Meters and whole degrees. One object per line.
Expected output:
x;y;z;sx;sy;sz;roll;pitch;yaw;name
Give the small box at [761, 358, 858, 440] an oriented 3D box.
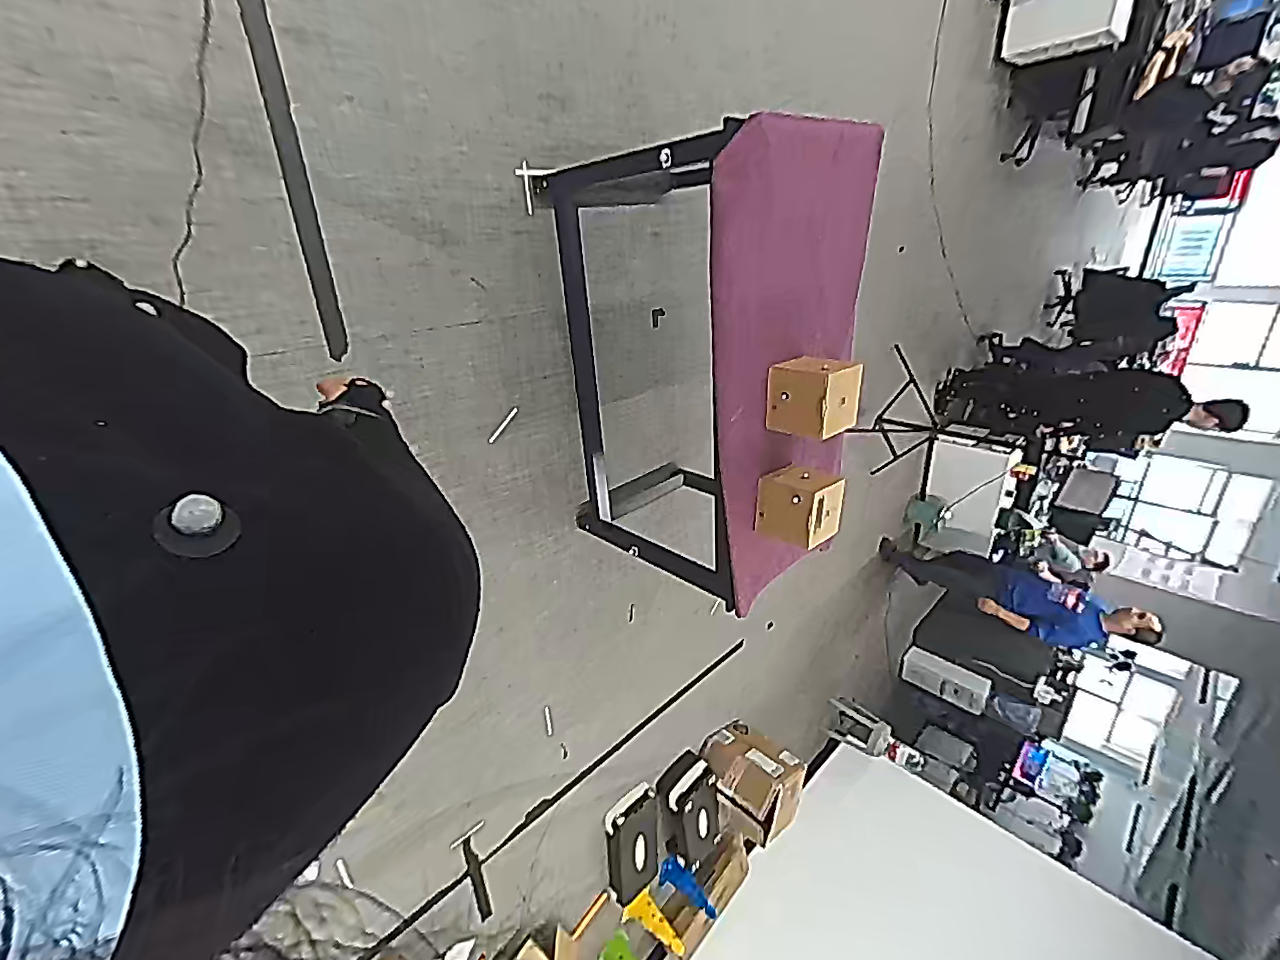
0.440;-0.218;1.410;0.179;0.176;0.168;-22;120;-39;small box
